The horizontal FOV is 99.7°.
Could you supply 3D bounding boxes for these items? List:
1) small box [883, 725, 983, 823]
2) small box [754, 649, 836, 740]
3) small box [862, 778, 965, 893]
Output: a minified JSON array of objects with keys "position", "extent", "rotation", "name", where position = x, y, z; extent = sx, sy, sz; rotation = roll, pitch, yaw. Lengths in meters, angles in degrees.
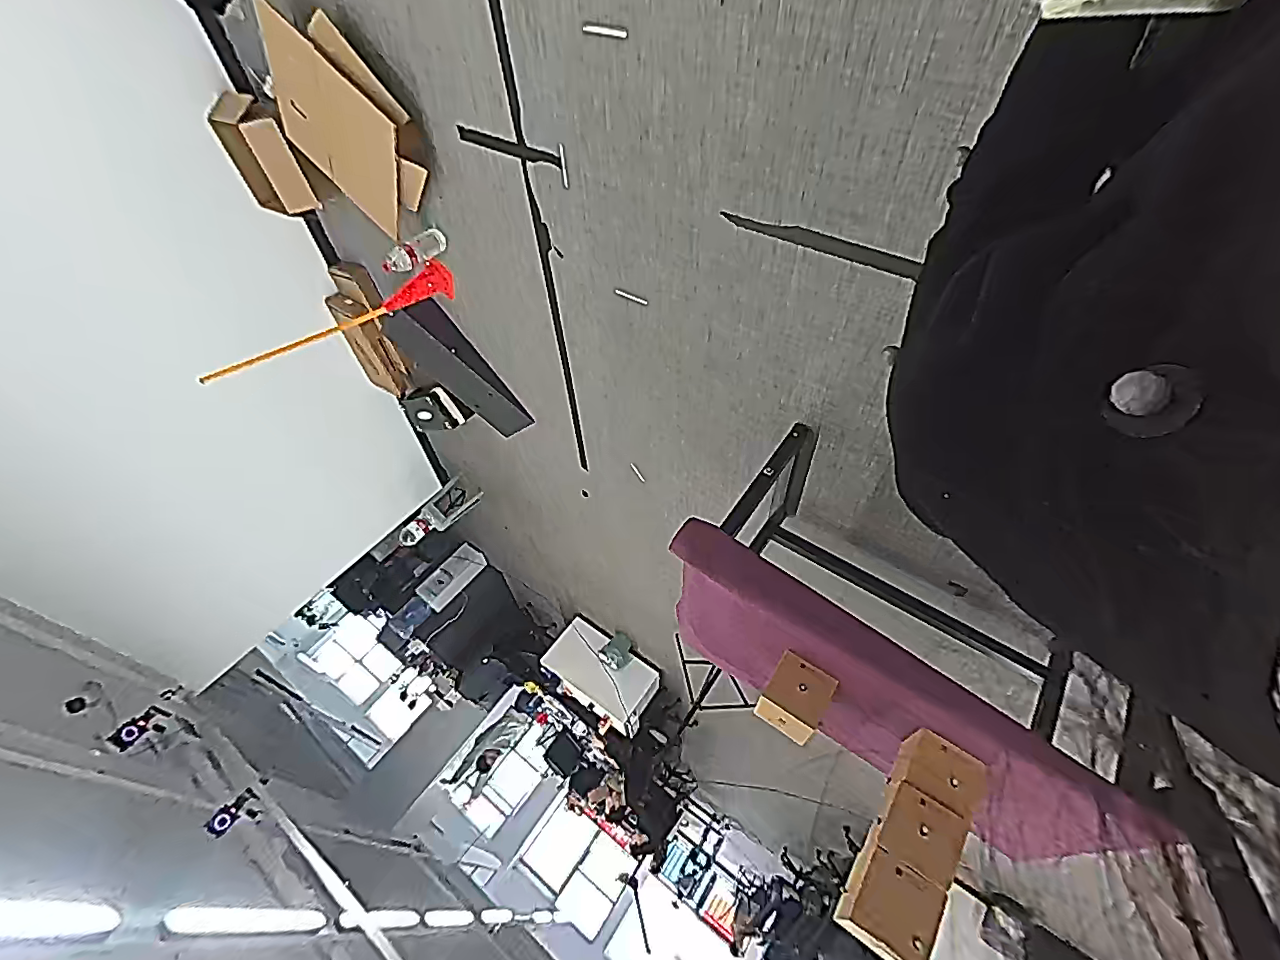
[{"position":[0.777,0.782,1.432],"extent":[0.168,0.176,0.179],"rotation":[28,149,23],"name":"small box"},{"position":[0.463,0.635,1.612],"extent":[0.168,0.176,0.179],"rotation":[29,149,23],"name":"small box"},{"position":[0.677,0.873,1.338],"extent":[0.168,0.176,0.179],"rotation":[26,147,27],"name":"small box"}]
